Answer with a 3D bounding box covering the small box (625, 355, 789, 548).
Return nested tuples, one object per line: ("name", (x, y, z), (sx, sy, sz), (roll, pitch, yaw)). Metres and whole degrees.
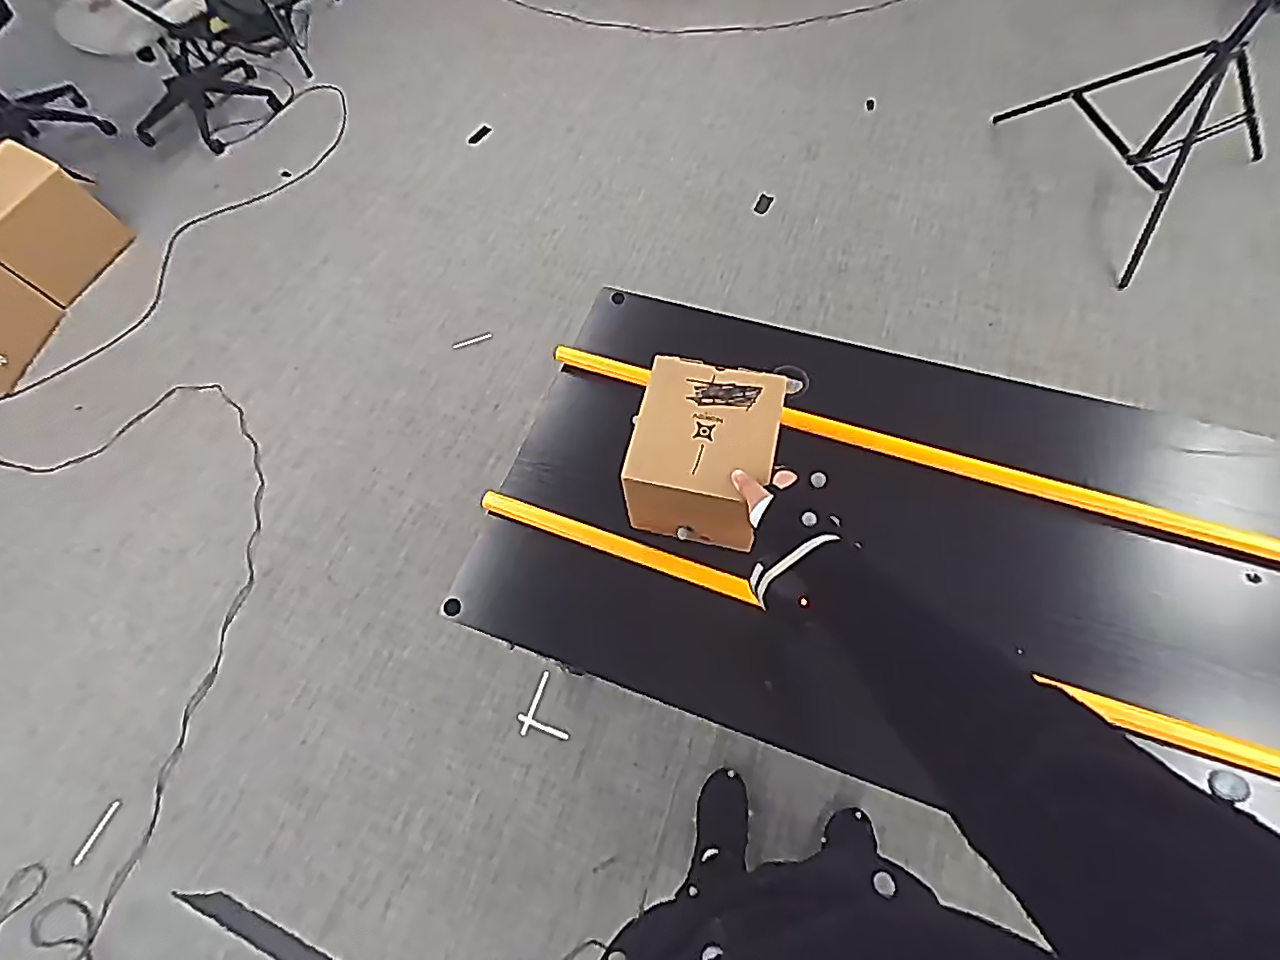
("small box", (0.086, -0.031, 0.705), (0.168, 0.176, 0.179), (12, 67, 10))
